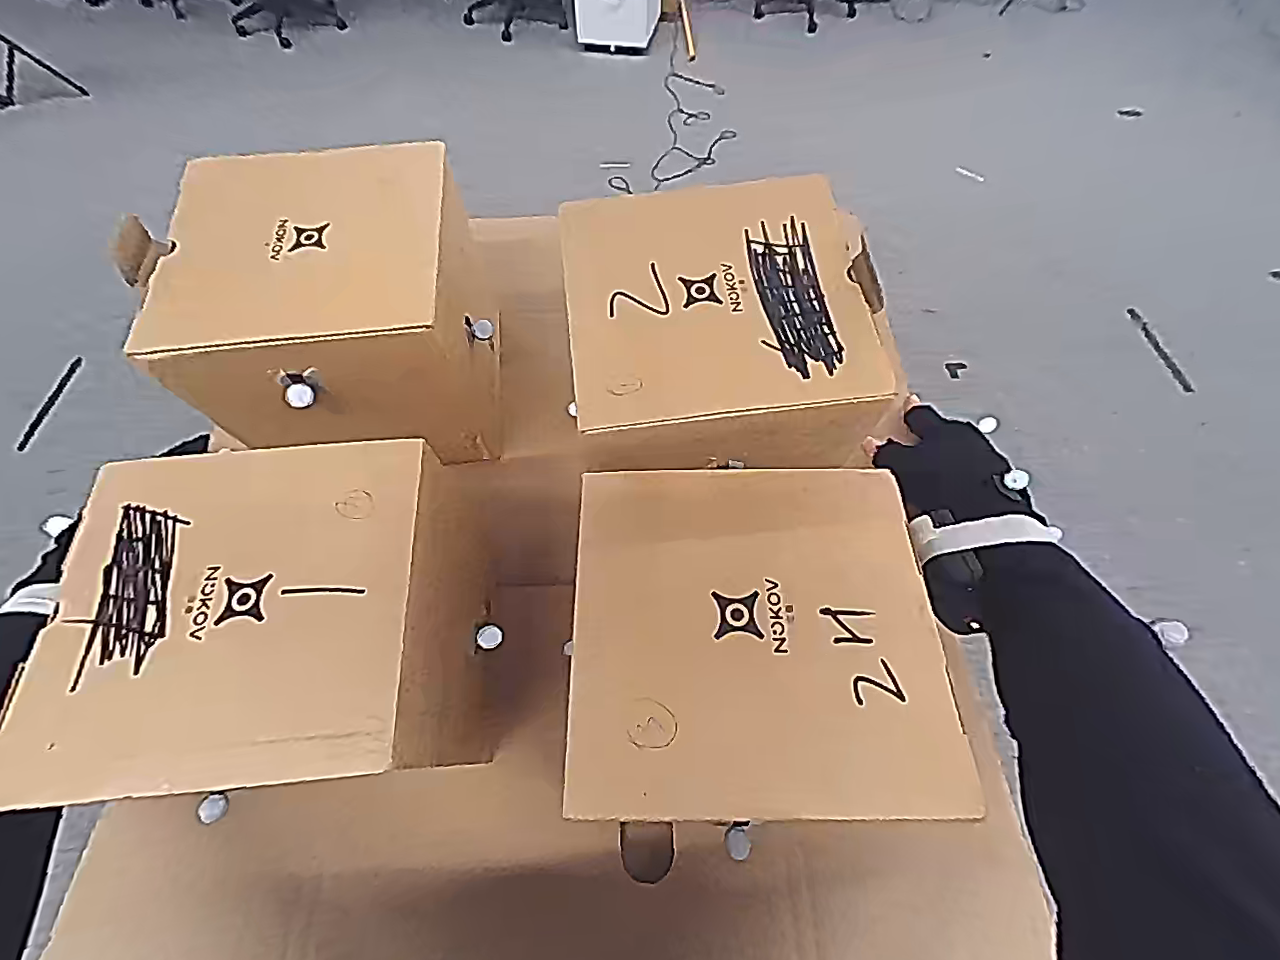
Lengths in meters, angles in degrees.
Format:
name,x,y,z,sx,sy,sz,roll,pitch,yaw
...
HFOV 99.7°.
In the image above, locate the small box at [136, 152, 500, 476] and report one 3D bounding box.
name,x,y,z,sx,sy,sz,roll,pitch,yaw
small box,-0.212,-0.116,0.420,0.179,0.176,0.168,-6,65,-1
